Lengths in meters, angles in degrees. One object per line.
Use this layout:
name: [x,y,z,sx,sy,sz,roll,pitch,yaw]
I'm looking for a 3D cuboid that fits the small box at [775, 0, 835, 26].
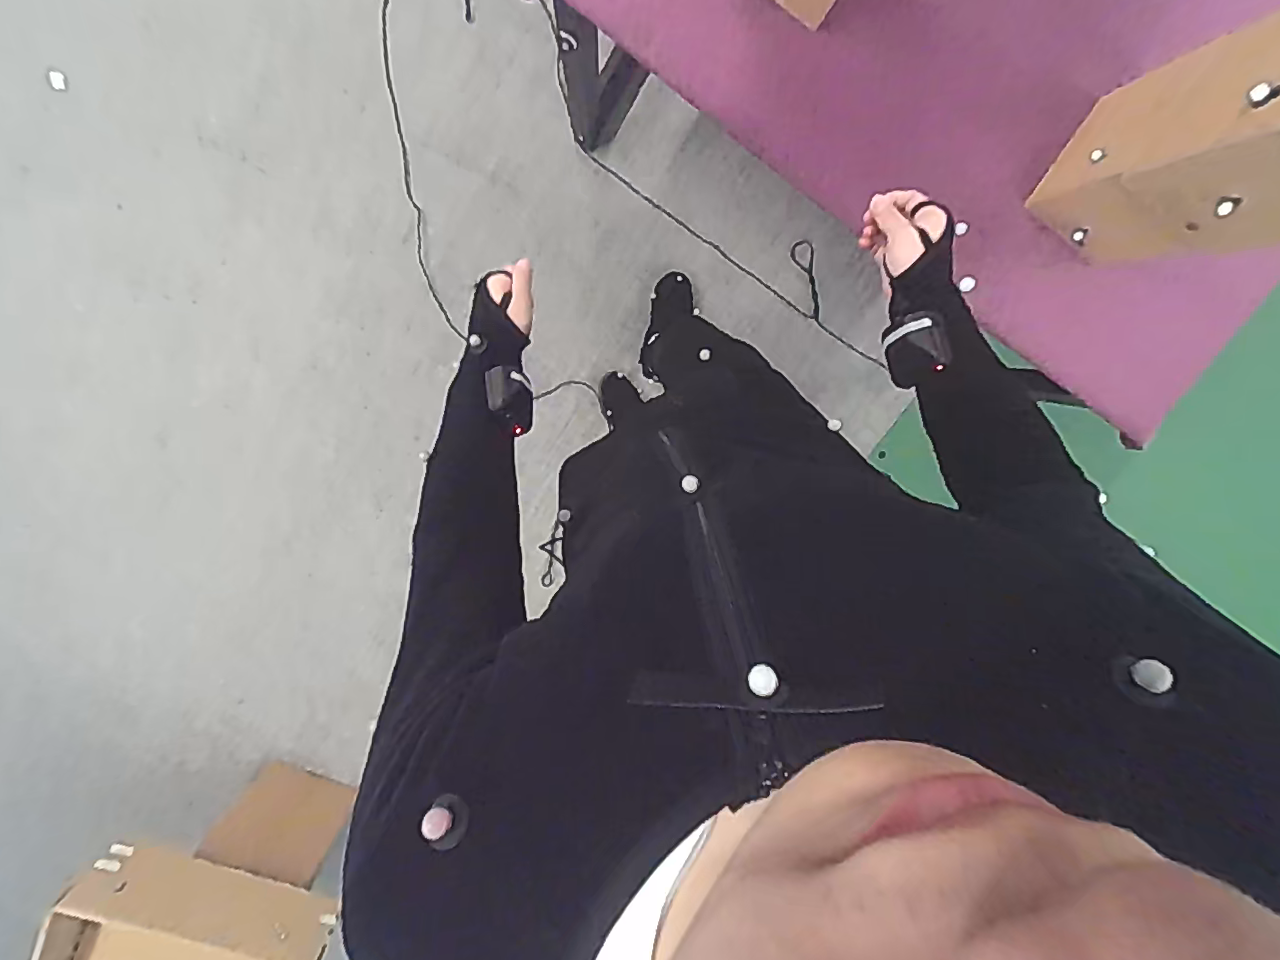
small box: [0.218,-0.698,0.623,0.168,0.176,0.179,31,101,-10]
